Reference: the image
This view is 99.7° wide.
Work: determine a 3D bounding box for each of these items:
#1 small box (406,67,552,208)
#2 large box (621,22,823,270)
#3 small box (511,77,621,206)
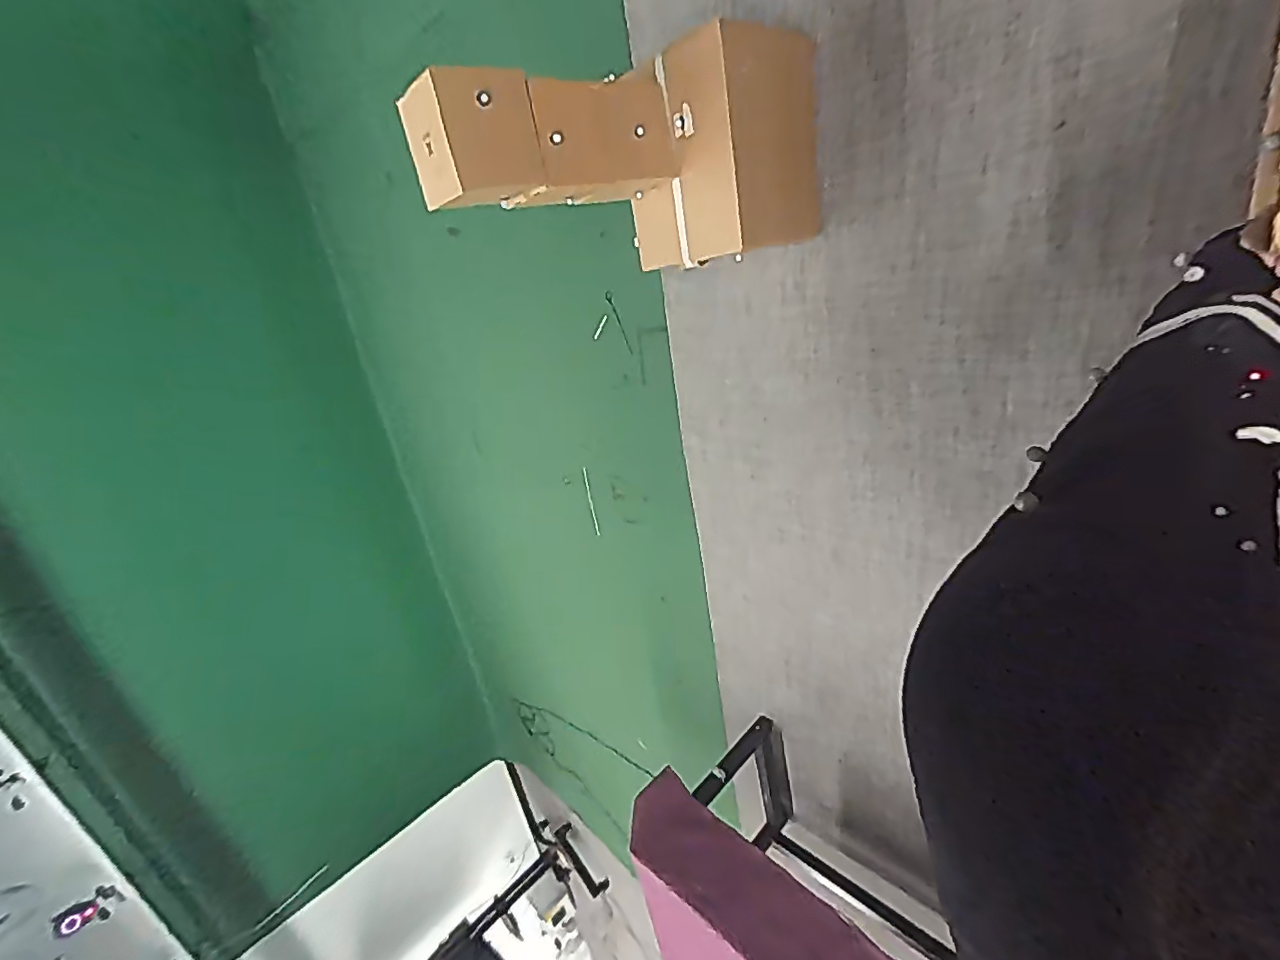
[{"bbox_3d":[-0.281,-0.598,0.960,0.168,0.176,0.179,18,126,48],"label":"small box"},{"bbox_3d":[0.199,-0.736,1.256,0.320,0.320,0.408,13,120,47],"label":"large box"},{"bbox_3d":[-0.161,-0.652,1.057,0.168,0.176,0.179,15,123,49],"label":"small box"}]
